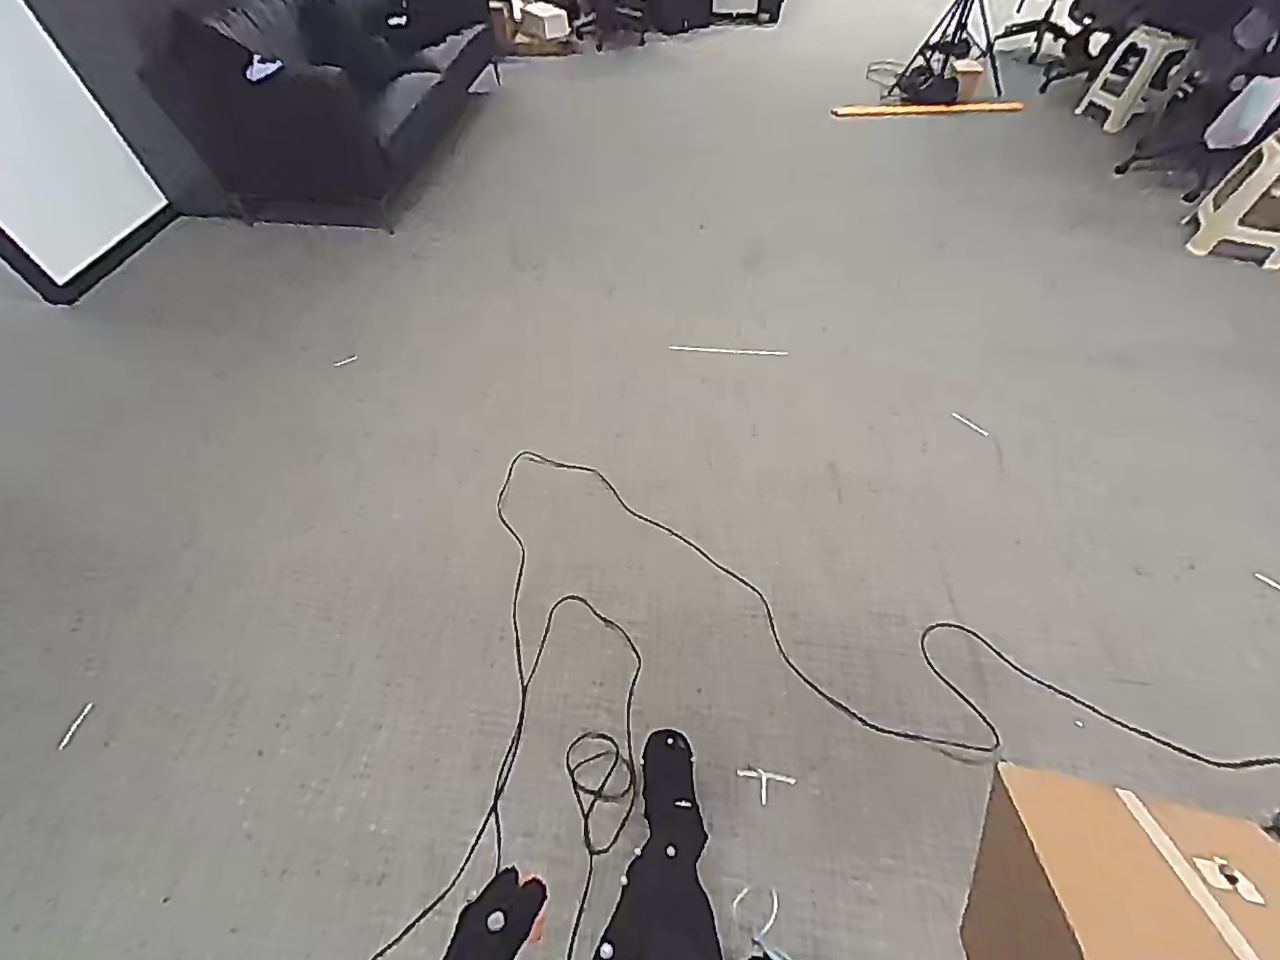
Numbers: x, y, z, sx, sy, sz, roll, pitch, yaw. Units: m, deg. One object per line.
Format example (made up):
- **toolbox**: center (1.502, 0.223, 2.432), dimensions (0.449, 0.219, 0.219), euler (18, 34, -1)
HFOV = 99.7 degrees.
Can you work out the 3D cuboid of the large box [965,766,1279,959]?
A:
- **large box**: center (0.615, 0.631, 0.622), dimensions (0.320, 0.320, 0.408), euler (8, 12, 18)
